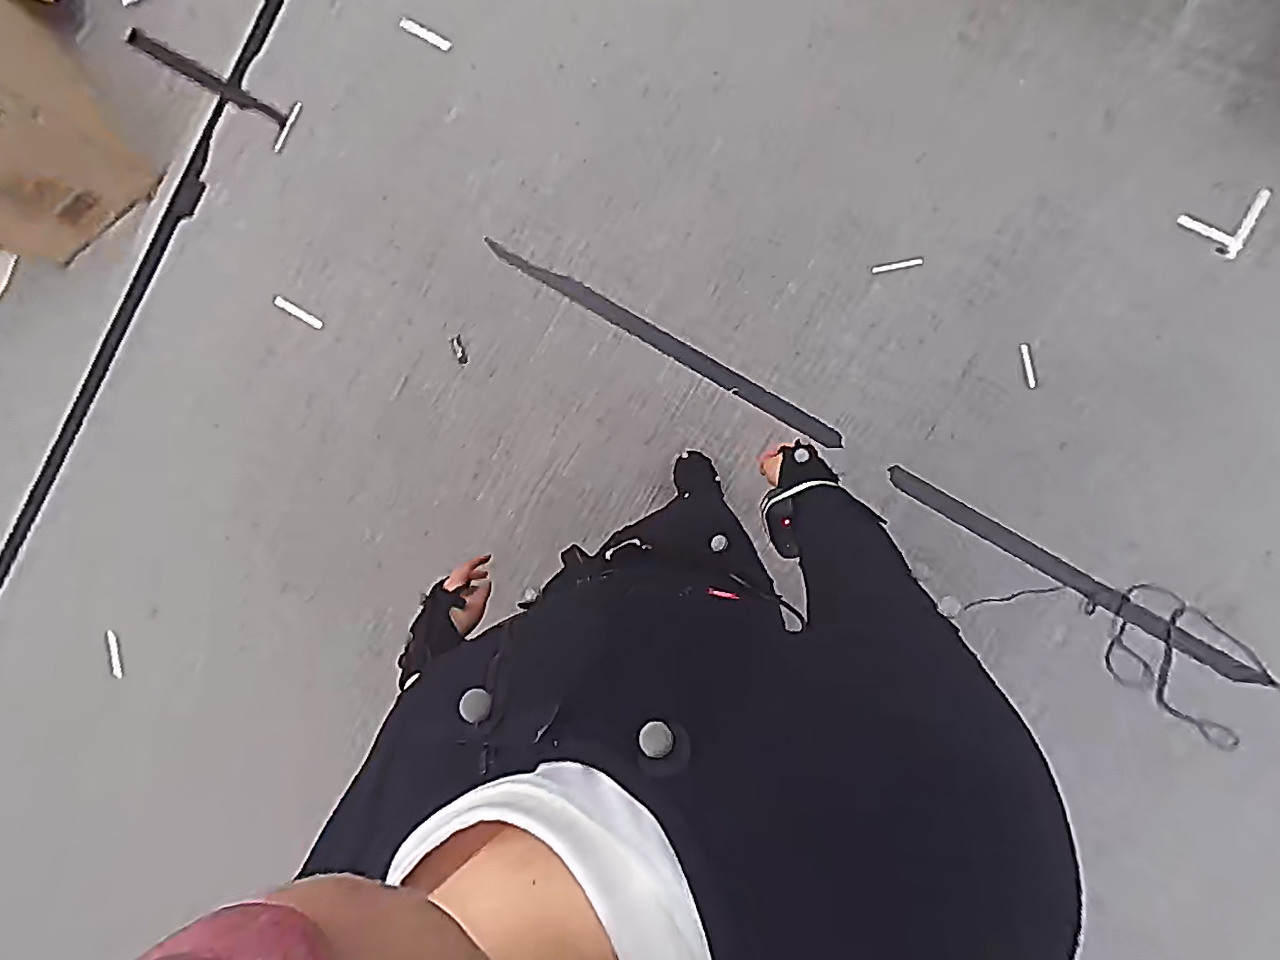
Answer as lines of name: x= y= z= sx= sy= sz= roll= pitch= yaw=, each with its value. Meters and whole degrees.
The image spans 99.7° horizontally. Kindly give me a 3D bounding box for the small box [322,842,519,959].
small box: x=-0.261 y=0.555 z=0.595 sx=0.179 sy=0.176 sz=0.168 roll=35 pitch=94 yaw=3
